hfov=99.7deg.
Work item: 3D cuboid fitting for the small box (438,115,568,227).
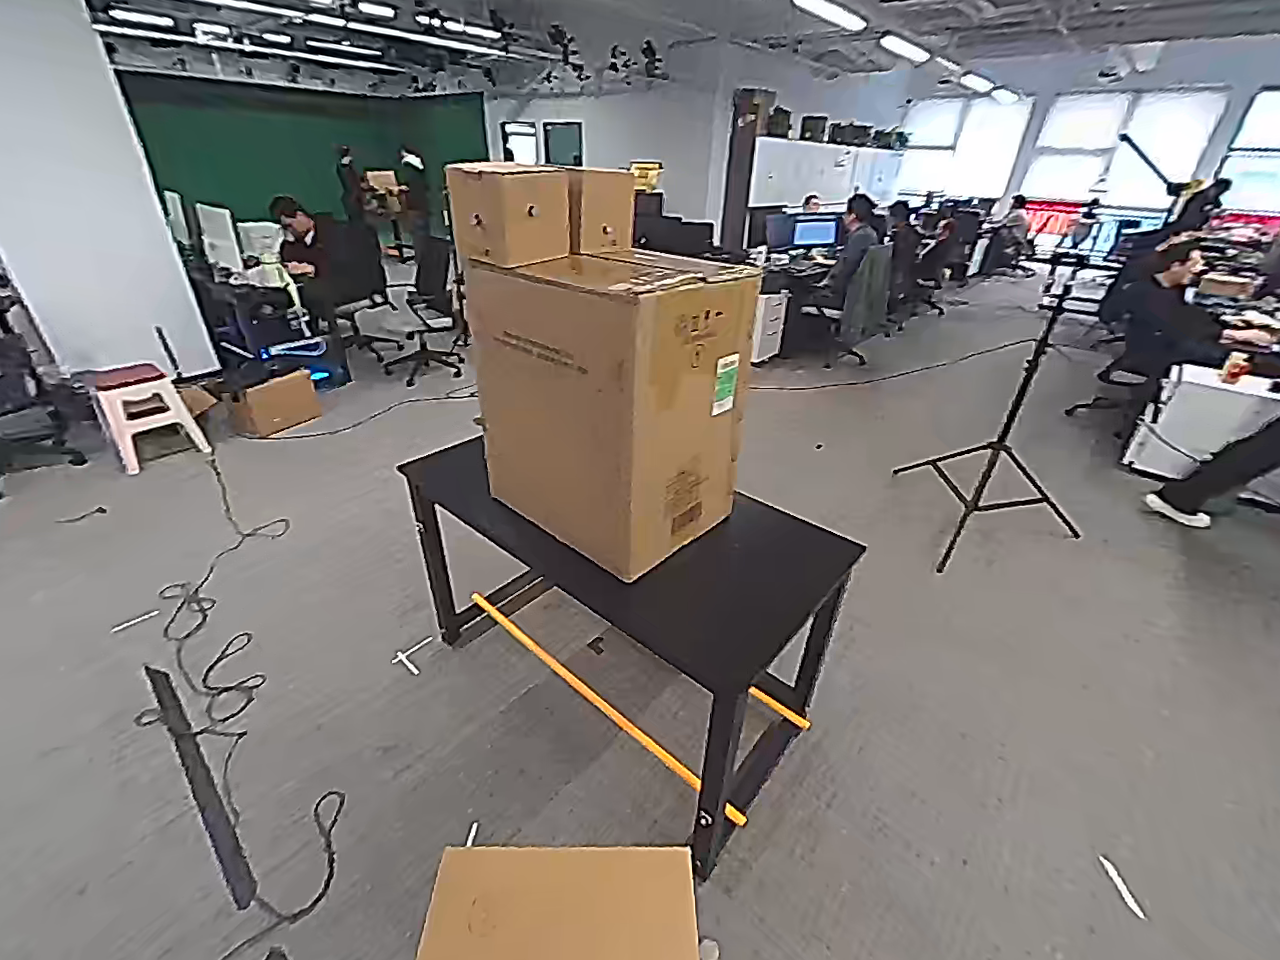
[{"bbox_3d":[-0.250,-0.590,1.030,0.168,0.176,0.179,25,41,28],"label":"small box"}]

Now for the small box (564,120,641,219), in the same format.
[{"bbox_3d":[-0.120,-0.669,1.170,0.179,0.176,0.168,28,38,33],"label":"small box"}]

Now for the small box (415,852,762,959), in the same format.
[{"bbox_3d":[-0.026,0.315,0.264,0.168,0.176,0.179,1,36,-3],"label":"small box"}]
